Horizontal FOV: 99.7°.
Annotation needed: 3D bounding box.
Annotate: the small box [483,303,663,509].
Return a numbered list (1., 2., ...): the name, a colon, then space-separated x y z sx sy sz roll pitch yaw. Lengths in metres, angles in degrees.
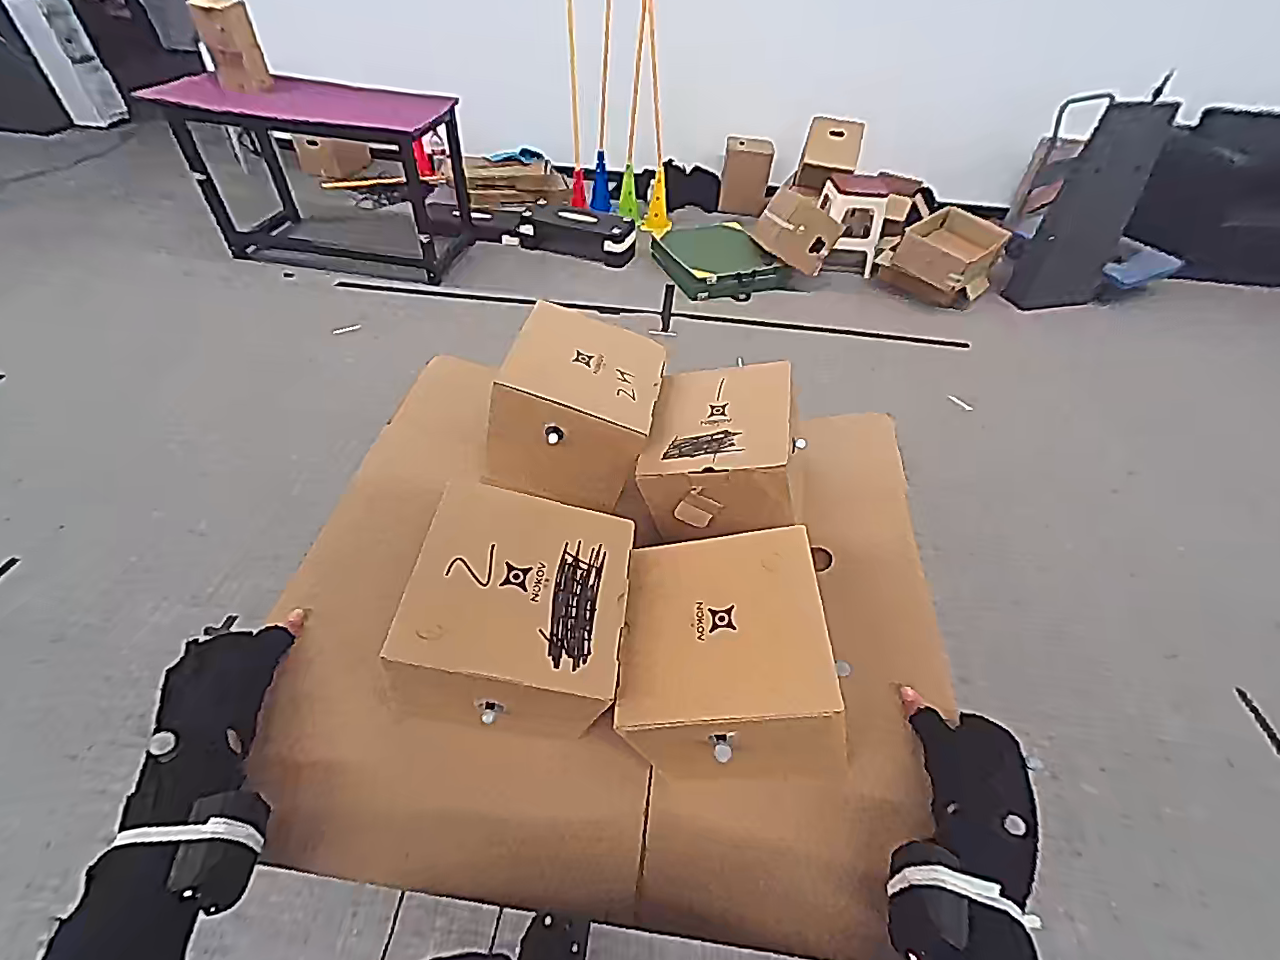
1. small box: -0.089 -0.087 0.692 0.179 0.176 0.168 19 50 -6
